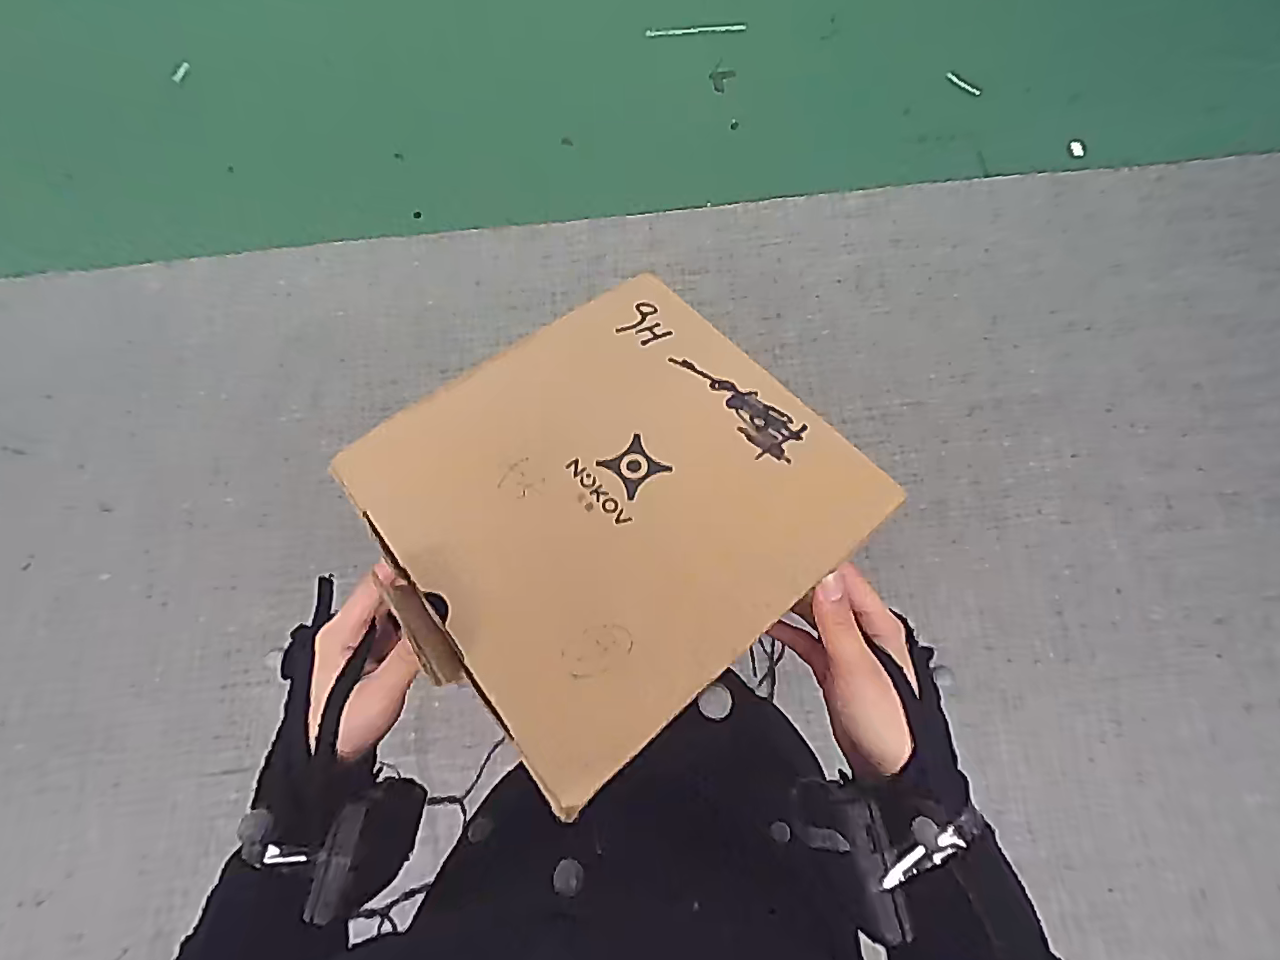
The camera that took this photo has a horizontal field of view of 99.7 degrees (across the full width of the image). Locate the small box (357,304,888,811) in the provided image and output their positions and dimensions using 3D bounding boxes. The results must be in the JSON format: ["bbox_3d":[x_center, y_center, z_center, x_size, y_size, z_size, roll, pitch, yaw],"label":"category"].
[{"bbox_3d":[-0.009,0.047,0.304,0.179,0.176,0.168,-37,69,-18],"label":"small box"}]
